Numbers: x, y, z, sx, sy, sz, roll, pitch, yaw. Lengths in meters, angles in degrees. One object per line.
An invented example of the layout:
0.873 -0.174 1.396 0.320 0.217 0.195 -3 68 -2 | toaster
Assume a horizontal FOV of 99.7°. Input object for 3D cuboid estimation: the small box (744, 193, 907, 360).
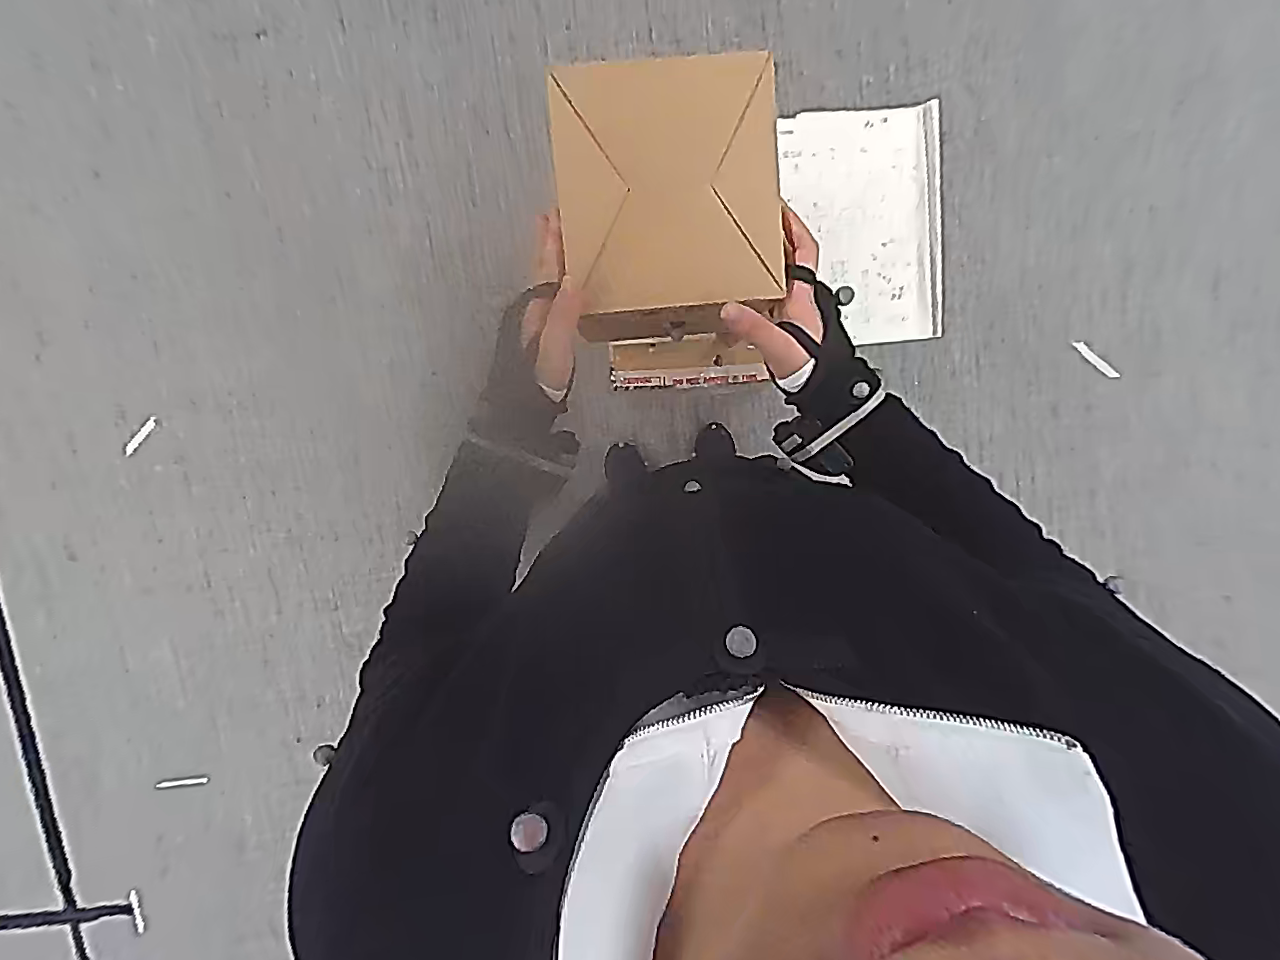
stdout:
0.244 -0.267 0.744 0.168 0.176 0.179 -5 98 -2 | small box
